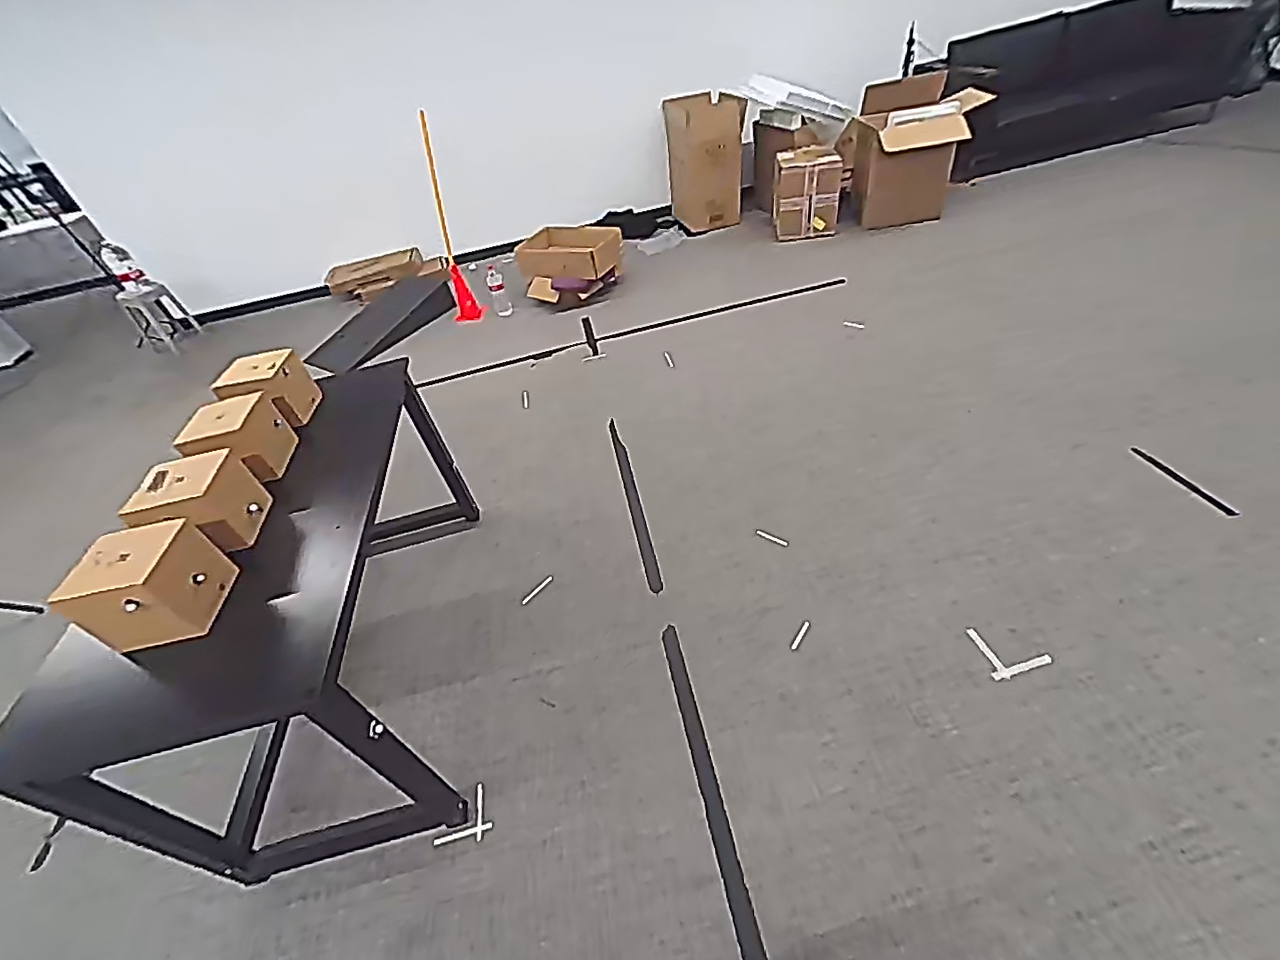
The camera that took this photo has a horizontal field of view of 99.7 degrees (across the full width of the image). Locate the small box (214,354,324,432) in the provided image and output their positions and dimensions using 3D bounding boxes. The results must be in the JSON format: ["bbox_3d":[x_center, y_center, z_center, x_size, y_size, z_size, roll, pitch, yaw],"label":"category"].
[{"bbox_3d":[-1.080,-0.244,1.591,0.179,0.176,0.168,-11,42,2],"label":"small box"}]

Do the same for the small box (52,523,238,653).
[{"bbox_3d":[-0.946,0.213,1.058,0.179,0.176,0.168,-12,41,0],"label":"small box"}]

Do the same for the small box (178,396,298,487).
[{"bbox_3d":[-1.034,-0.088,1.413,0.168,0.176,0.179,-15,43,-2],"label":"small box"}]

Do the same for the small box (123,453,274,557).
[{"bbox_3d":[-0.984,0.068,1.226,0.179,0.176,0.168,-14,41,-4],"label":"small box"}]
